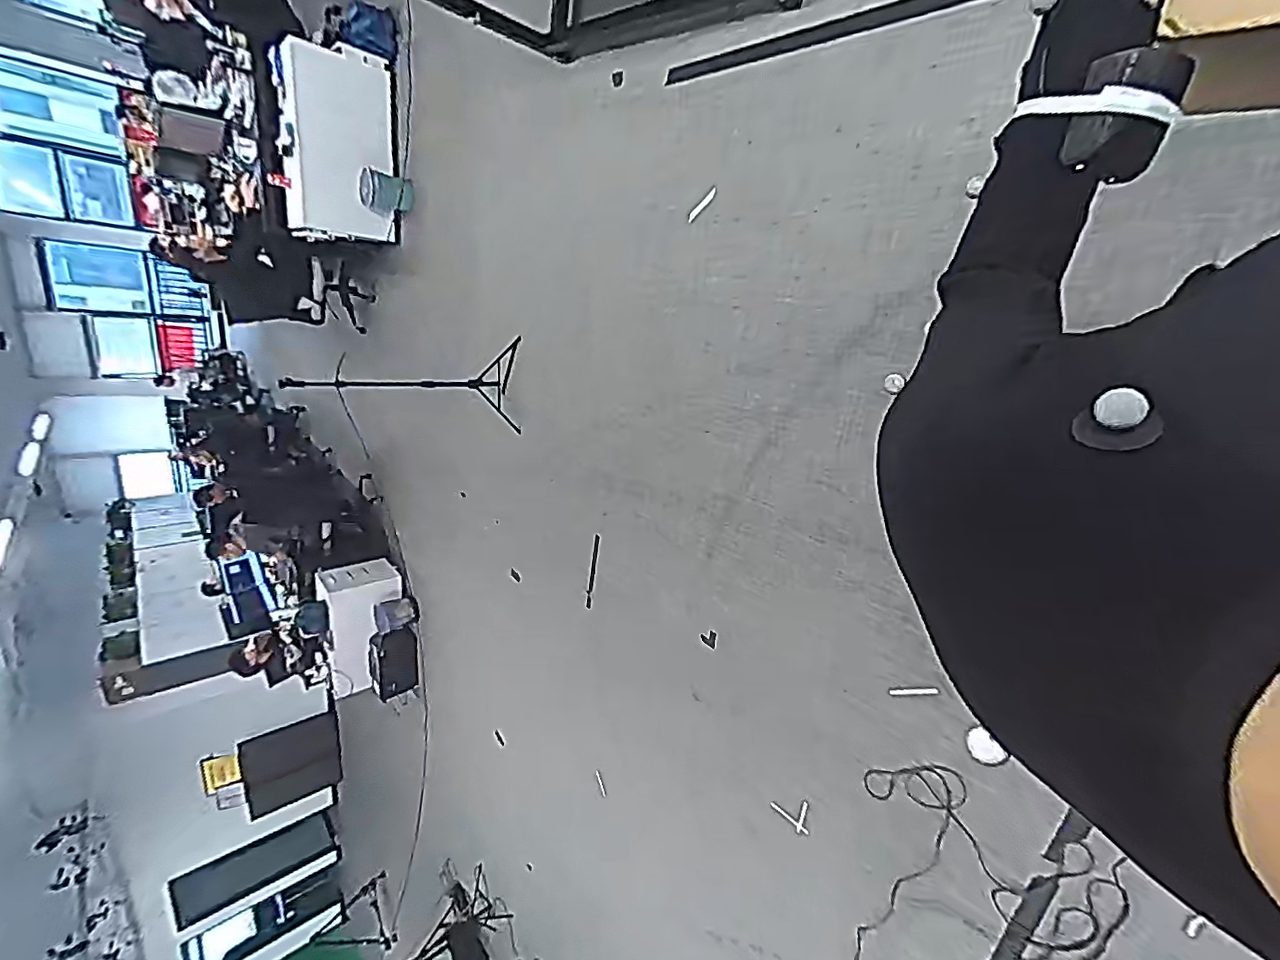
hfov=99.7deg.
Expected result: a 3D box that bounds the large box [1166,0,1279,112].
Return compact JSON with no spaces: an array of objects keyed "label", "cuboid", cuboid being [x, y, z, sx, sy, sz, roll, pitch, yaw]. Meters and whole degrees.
[{"label":"large box","cuboid":[0.583,-0.406,0.260,0.408,0.320,0.320,24,124,39]}]
